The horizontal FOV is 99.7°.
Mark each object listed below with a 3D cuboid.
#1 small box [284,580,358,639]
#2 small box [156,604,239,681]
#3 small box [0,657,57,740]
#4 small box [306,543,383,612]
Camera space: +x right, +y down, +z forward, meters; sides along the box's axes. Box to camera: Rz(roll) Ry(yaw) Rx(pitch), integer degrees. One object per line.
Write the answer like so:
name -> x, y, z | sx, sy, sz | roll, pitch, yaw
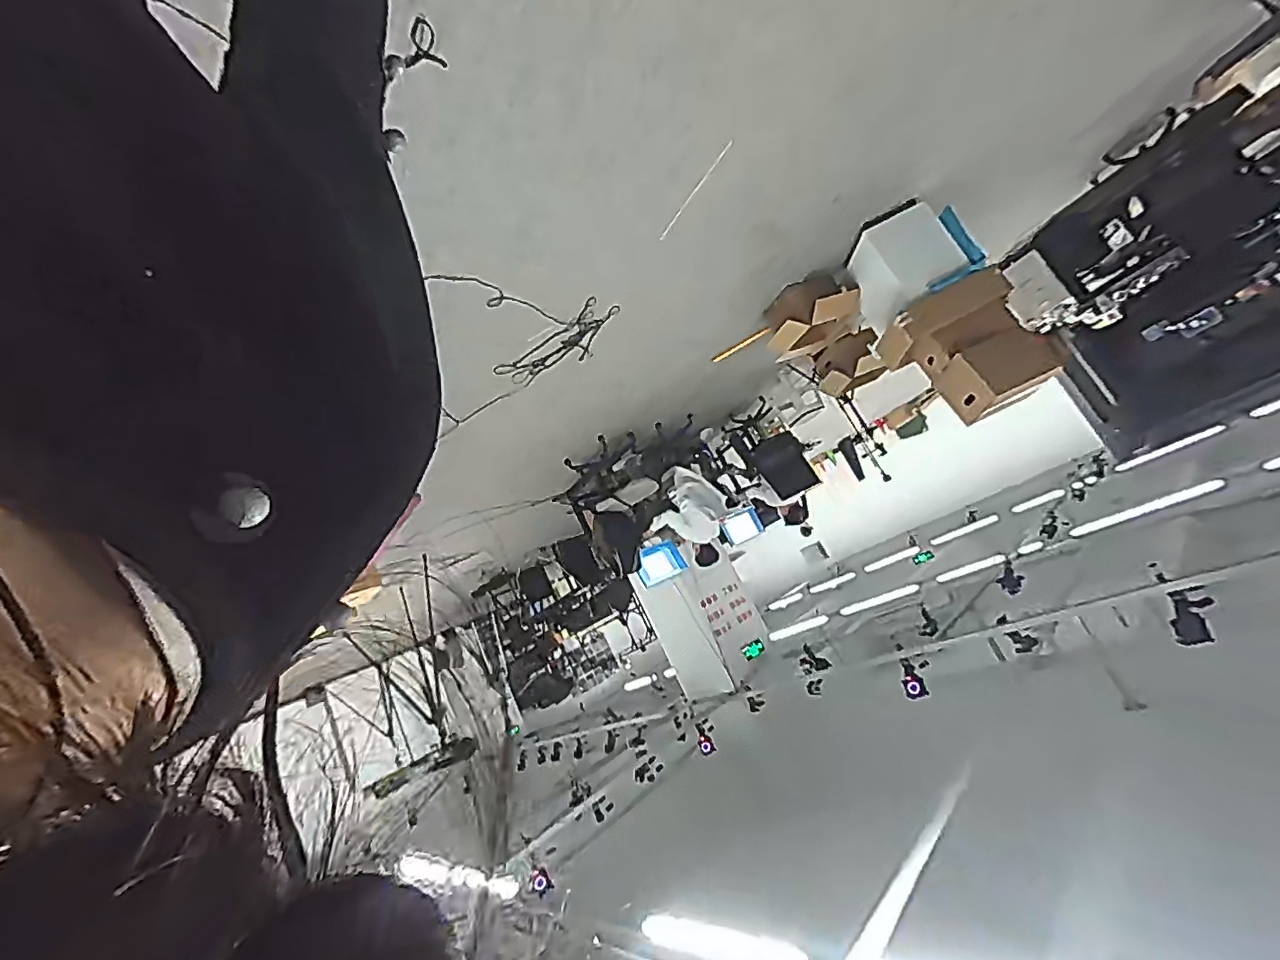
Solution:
small box -> -1.225, 0.479, 2.072 | 0.168, 0.176, 0.179 | -36, 163, 32
small box -> -1.467, 0.534, 1.796 | 0.179, 0.176, 0.168 | -17, 162, -43
small box -> -1.758, 0.609, 1.484 | 0.168, 0.176, 0.179 | -19, 164, -39
small box -> -1.027, 0.328, 1.871 | 0.179, 0.176, 0.168 | -36, 164, 36
